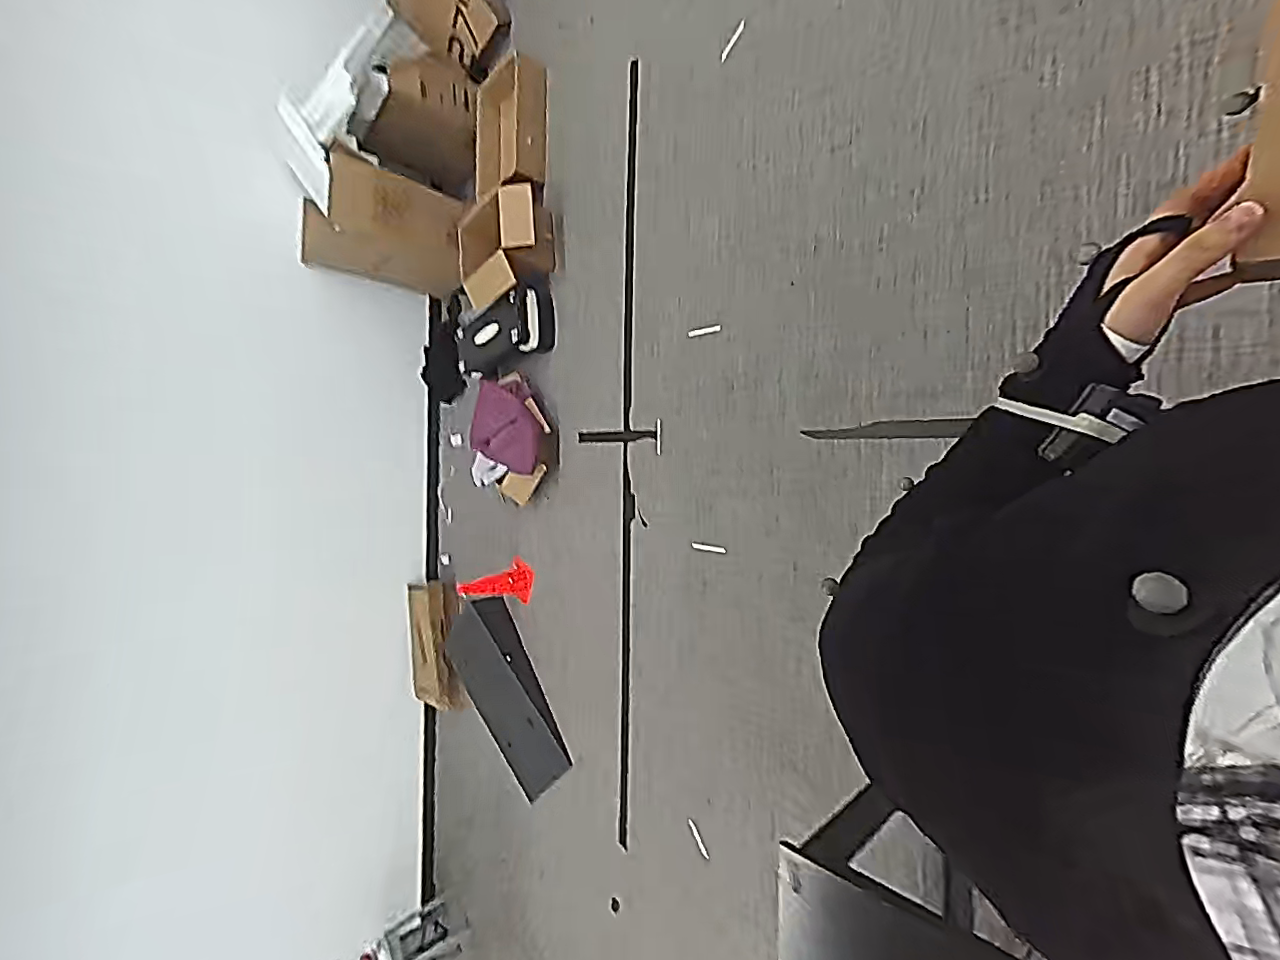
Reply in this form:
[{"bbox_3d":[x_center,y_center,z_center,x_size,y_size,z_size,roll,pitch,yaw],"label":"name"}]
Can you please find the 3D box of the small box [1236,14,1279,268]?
[{"bbox_3d":[0.446,-0.219,0.281,0.168,0.176,0.179,11,109,47],"label":"small box"}]
